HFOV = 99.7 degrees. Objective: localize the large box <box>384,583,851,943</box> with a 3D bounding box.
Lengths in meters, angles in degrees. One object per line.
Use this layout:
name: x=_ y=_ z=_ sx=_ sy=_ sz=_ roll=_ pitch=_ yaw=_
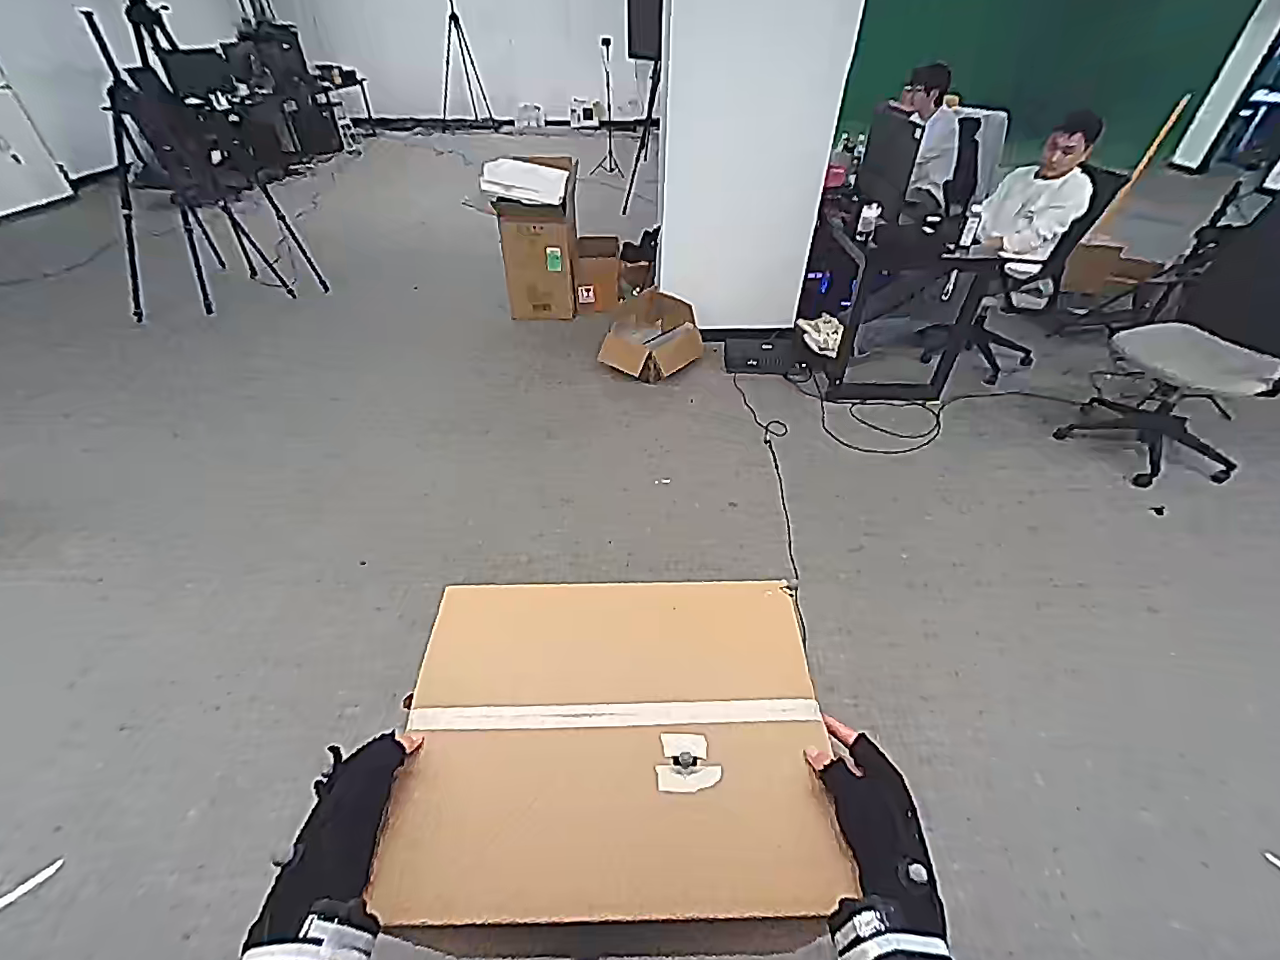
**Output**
large box: x=-0.023 y=0.343 z=0.661 sx=0.408 sy=0.320 sz=0.320 roll=0 pitch=46 yaw=-1
